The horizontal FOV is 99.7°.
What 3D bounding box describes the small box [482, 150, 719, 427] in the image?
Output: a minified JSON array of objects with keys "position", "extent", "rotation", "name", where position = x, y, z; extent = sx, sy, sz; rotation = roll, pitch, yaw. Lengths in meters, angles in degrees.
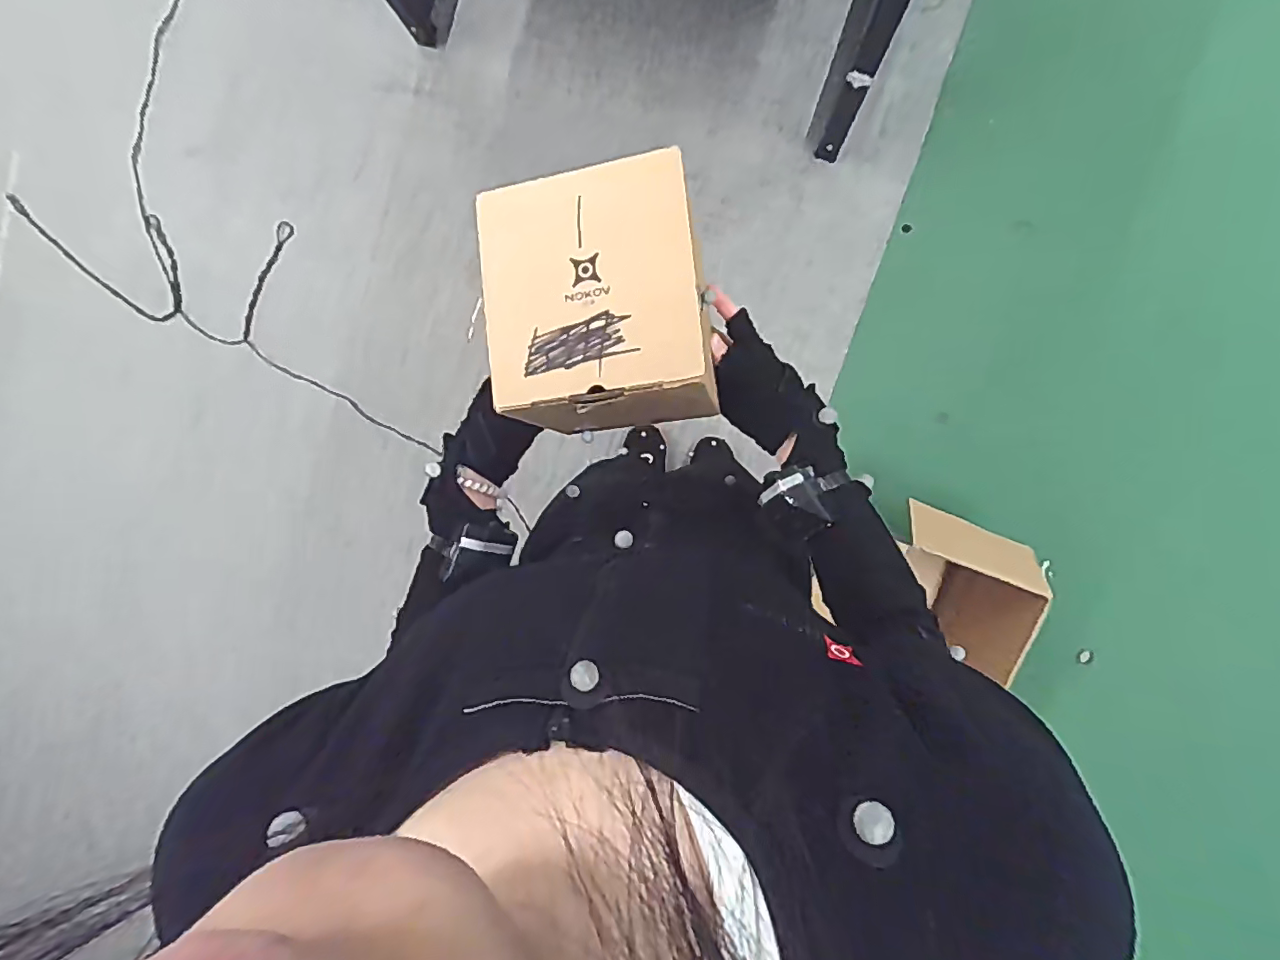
[{"position":[-0.021,-0.145,0.483],"extent":[0.168,0.176,0.179],"rotation":[-6,87,10],"name":"small box"}]
